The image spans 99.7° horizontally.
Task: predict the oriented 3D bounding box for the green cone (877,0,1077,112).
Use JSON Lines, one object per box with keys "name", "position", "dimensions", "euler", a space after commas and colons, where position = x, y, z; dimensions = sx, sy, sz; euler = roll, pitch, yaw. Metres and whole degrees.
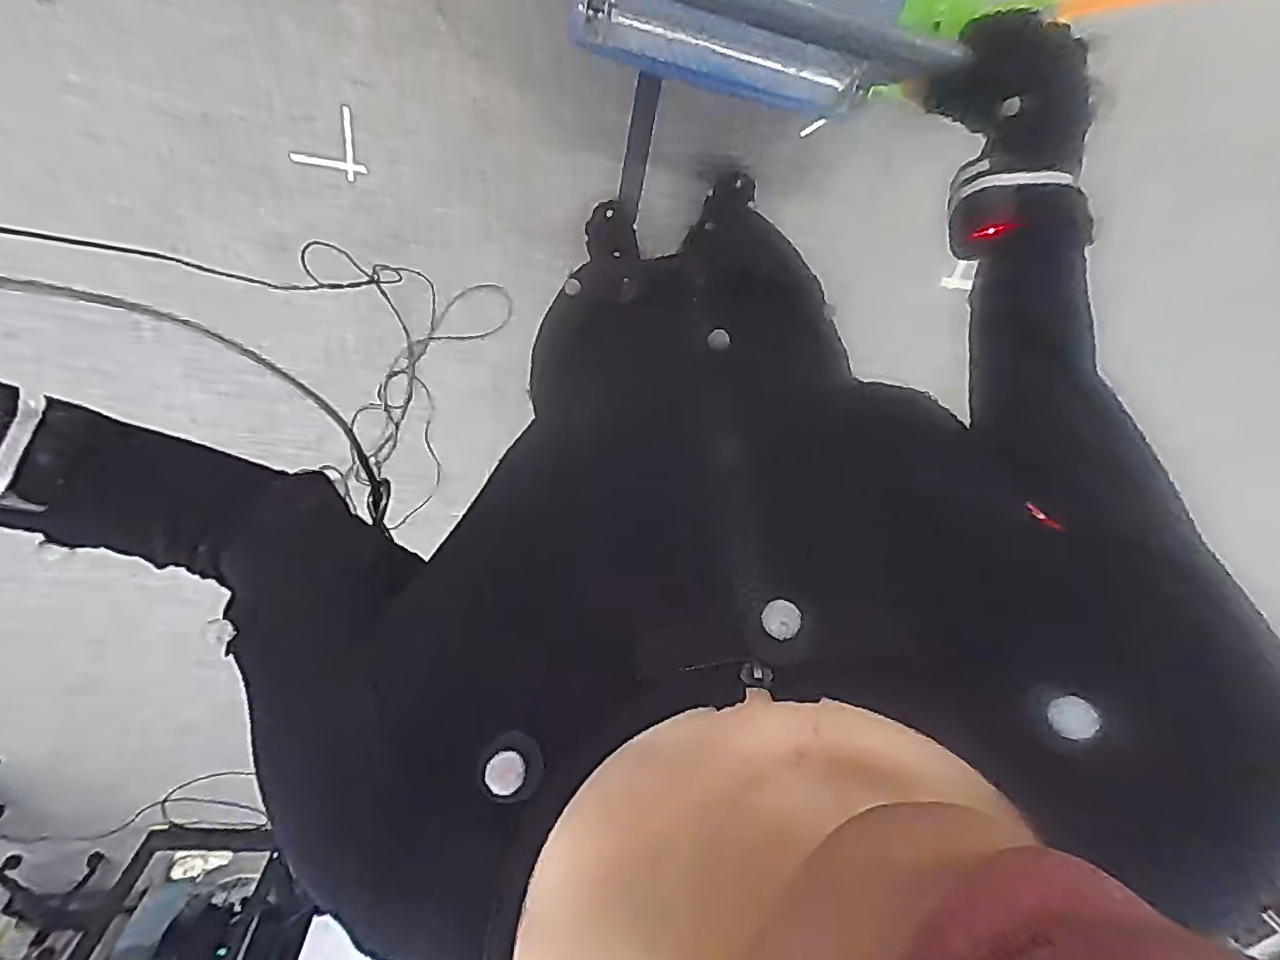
{"name": "green cone", "position": [0.632, -0.818, 0.984], "dimensions": [0.202, 0.368, 0.200], "euler": [10, 120, -12]}
